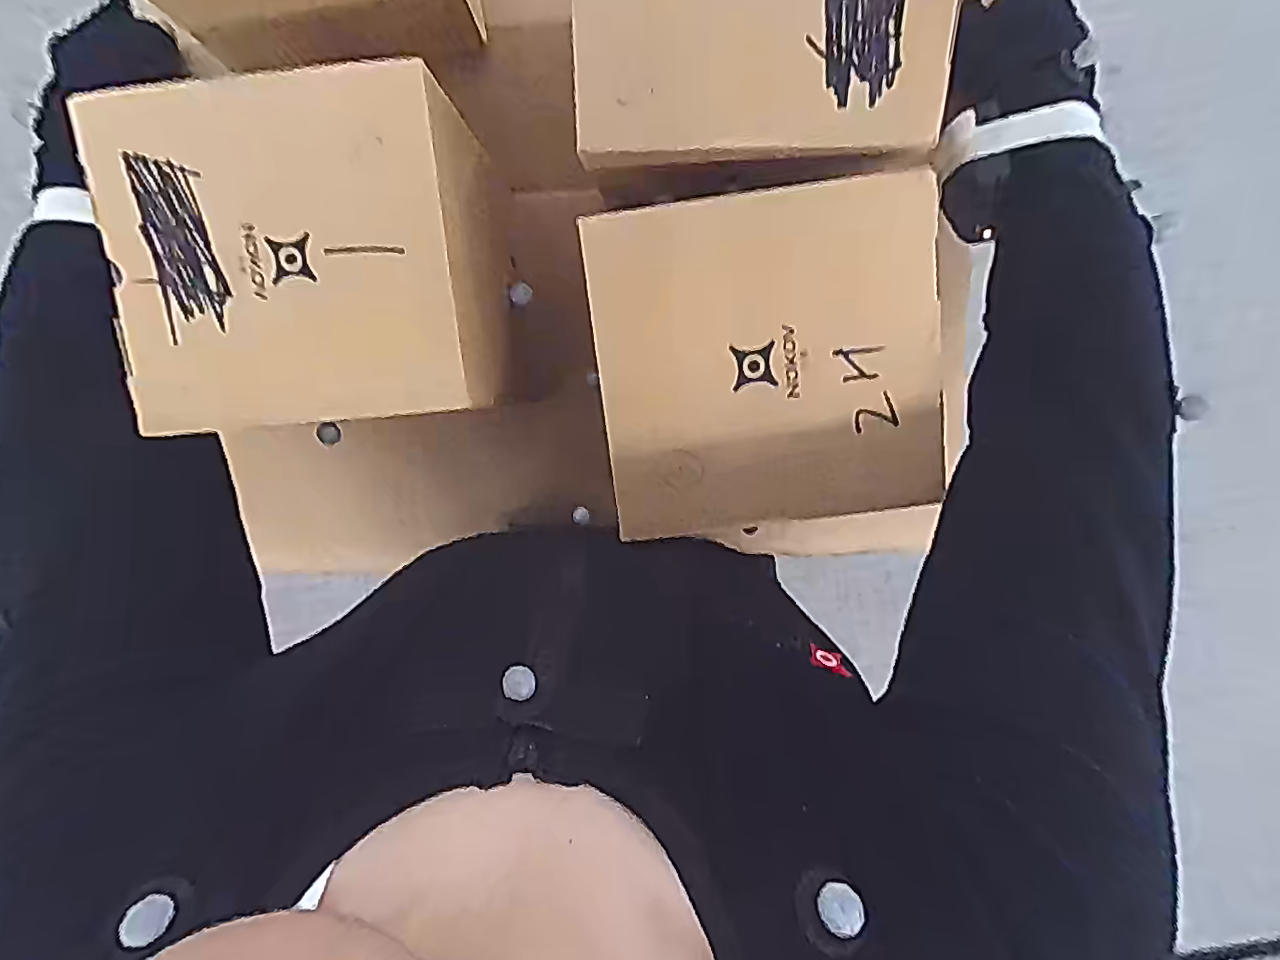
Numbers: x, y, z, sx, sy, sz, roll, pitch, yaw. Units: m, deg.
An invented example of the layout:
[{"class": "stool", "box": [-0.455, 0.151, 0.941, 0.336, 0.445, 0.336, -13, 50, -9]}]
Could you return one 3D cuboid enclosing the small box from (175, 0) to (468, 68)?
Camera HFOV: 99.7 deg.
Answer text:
[{"class": "small box", "box": [-0.206, -0.374, 0.297, 0.179, 0.176, 0.168, -7, 96, 3]}]
